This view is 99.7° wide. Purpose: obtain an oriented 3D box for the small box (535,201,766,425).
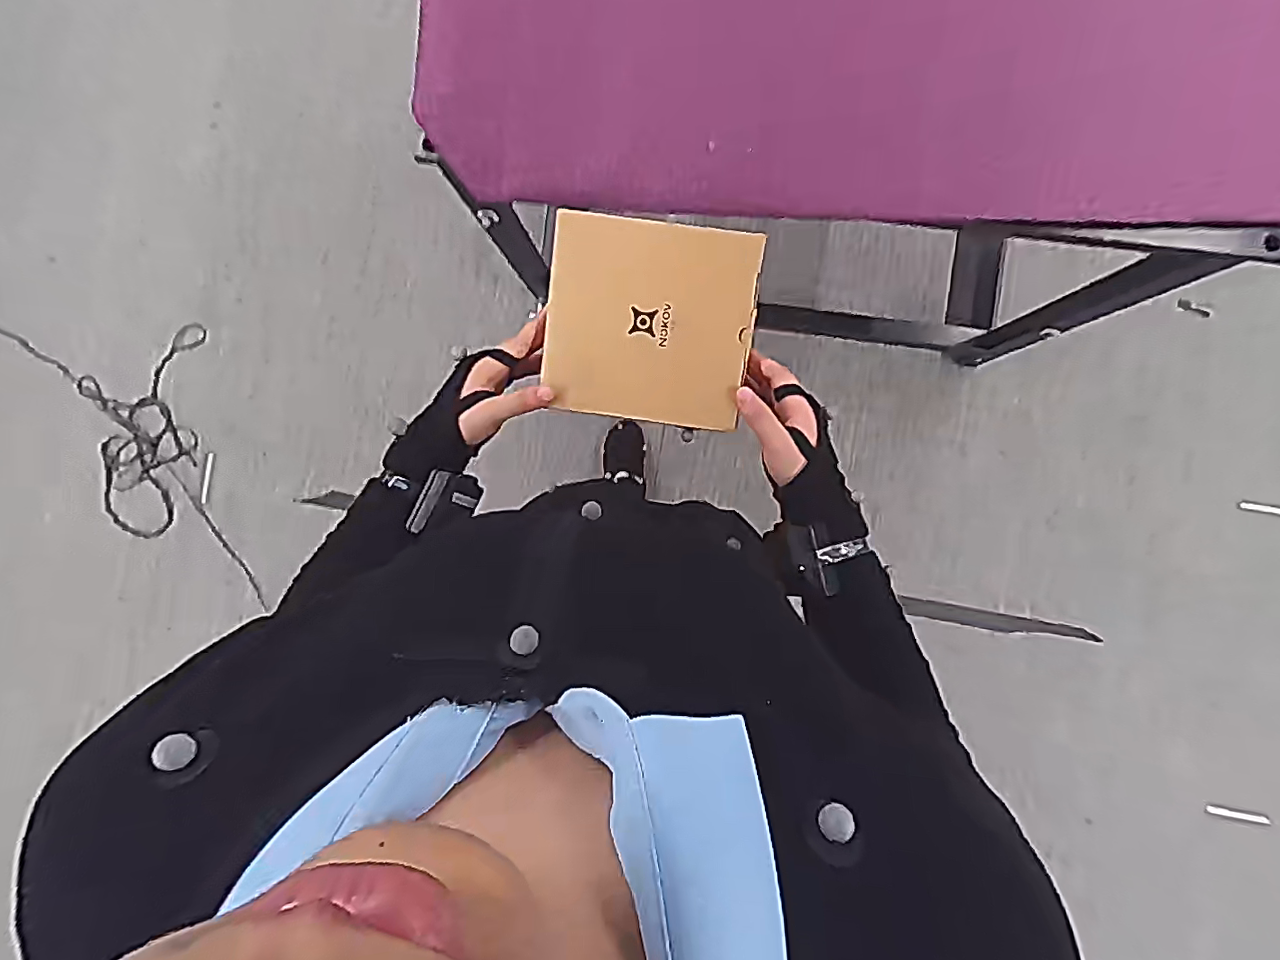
[{"bbox_3d":[0.009,-0.148,0.530,0.179,0.176,0.168,8,98,0],"label":"small box"}]
